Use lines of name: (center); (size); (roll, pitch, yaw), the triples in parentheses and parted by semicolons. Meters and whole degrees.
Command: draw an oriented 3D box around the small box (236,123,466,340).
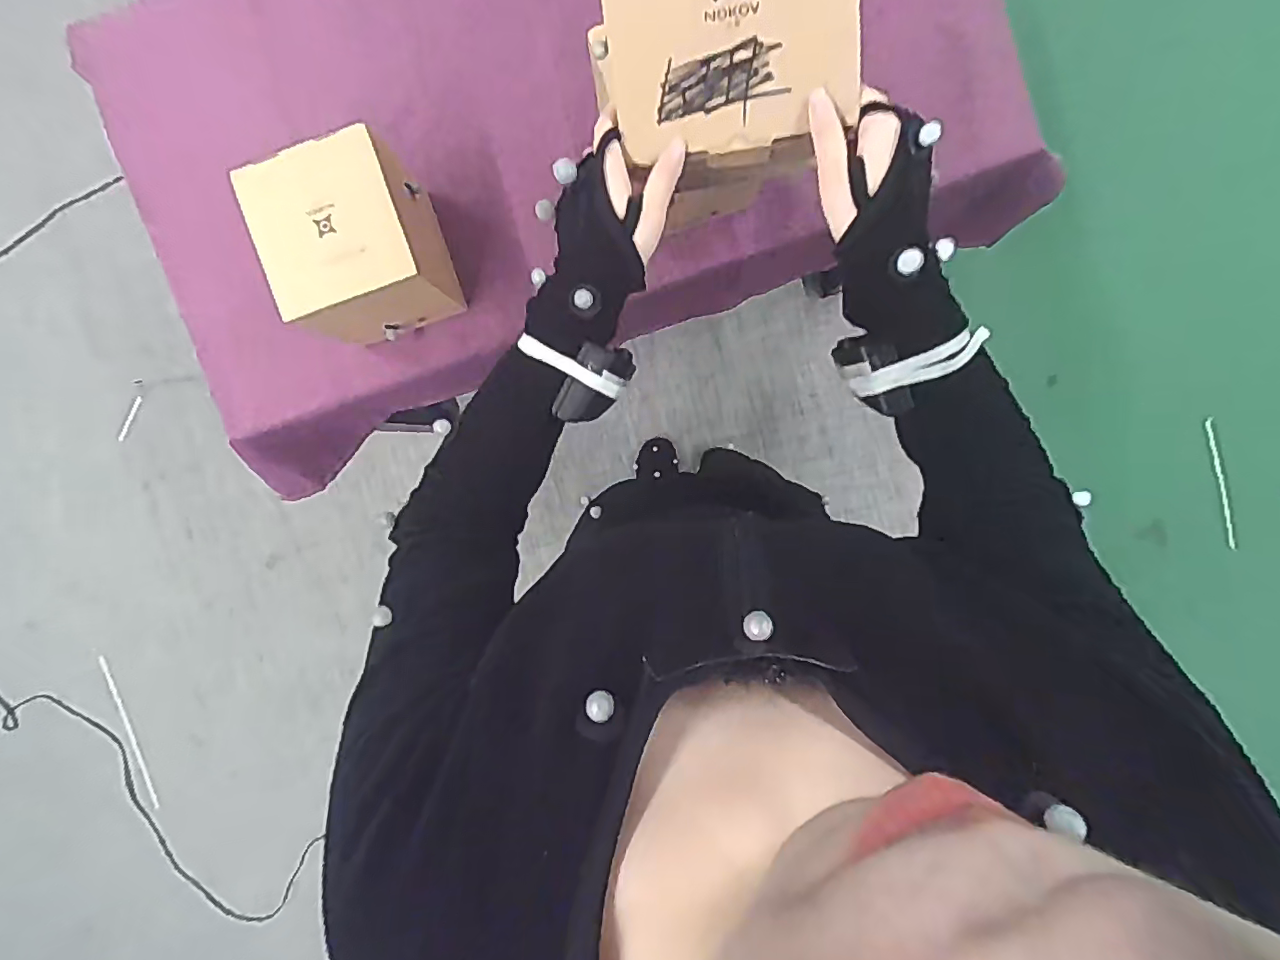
small box: (-0.345, -0.295, 0.682); (0.168, 0.176, 0.179); (-18, 94, 3)

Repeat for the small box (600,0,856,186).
small box: (0.060, -0.344, 0.423); (0.168, 0.176, 0.179); (-7, 109, 5)

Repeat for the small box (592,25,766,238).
small box: (0.051, -0.432, 0.660); (0.168, 0.176, 0.179); (-18, 93, 4)
